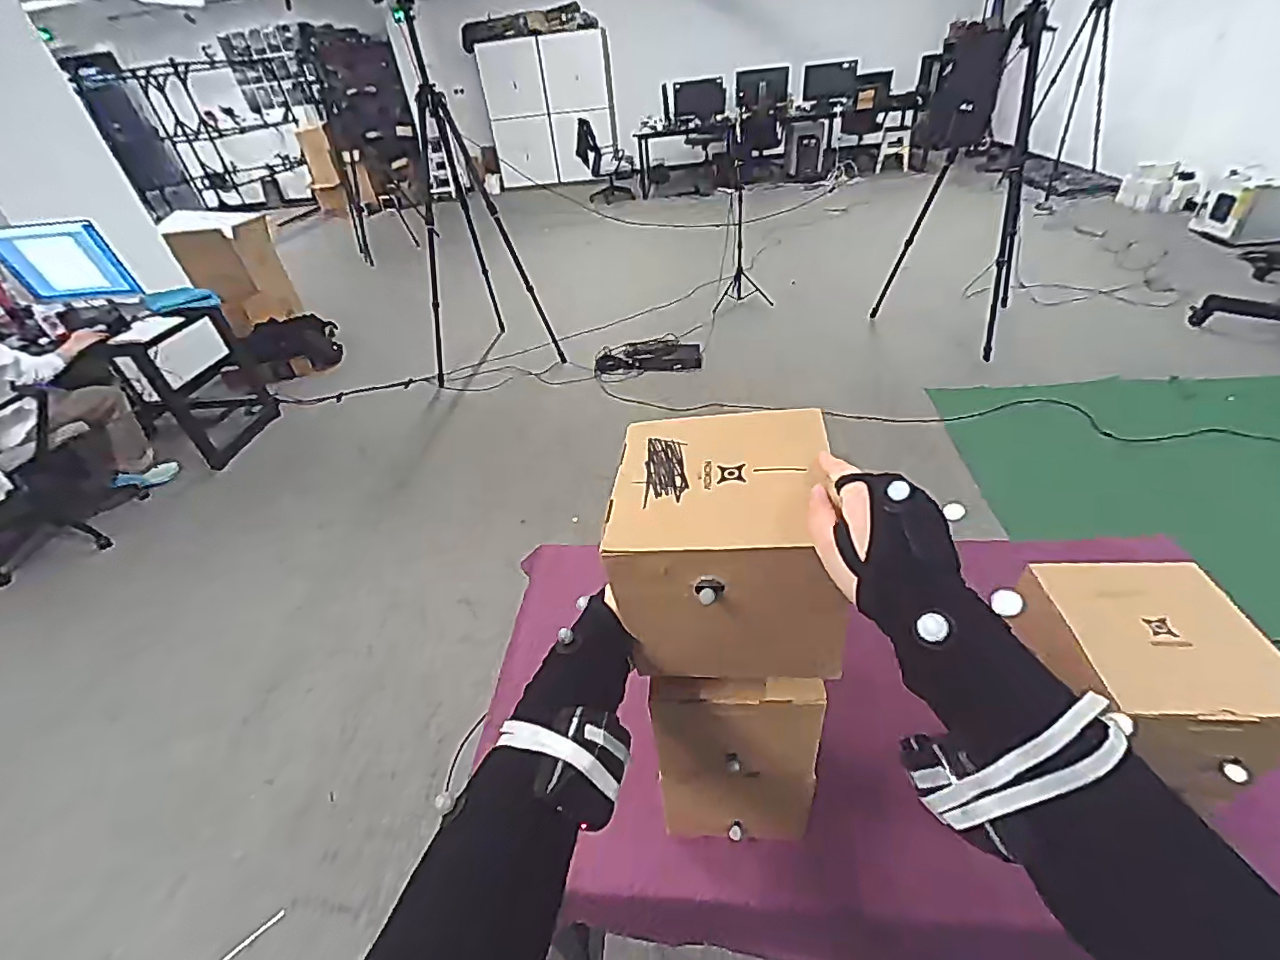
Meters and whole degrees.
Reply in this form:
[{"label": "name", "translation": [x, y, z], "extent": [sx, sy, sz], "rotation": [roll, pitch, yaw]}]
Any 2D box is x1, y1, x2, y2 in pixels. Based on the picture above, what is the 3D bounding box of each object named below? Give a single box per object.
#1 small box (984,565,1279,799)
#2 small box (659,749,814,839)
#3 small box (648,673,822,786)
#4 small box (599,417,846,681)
[{"label": "small box", "translation": [0.501, 0.211, 0.569], "extent": [0.168, 0.176, 0.179], "rotation": [-1, 38, 7]}, {"label": "small box", "translation": [0.119, 0.352, 0.717], "extent": [0.179, 0.176, 0.168], "rotation": [-2, 38, 5]}, {"label": "small box", "translation": [0.103, 0.219, 0.619], "extent": [0.168, 0.176, 0.179], "rotation": [-2, 38, 8]}, {"label": "small box", "translation": [0.077, 0.063, 0.485], "extent": [0.179, 0.176, 0.168], "rotation": [-3, 40, 11]}]
